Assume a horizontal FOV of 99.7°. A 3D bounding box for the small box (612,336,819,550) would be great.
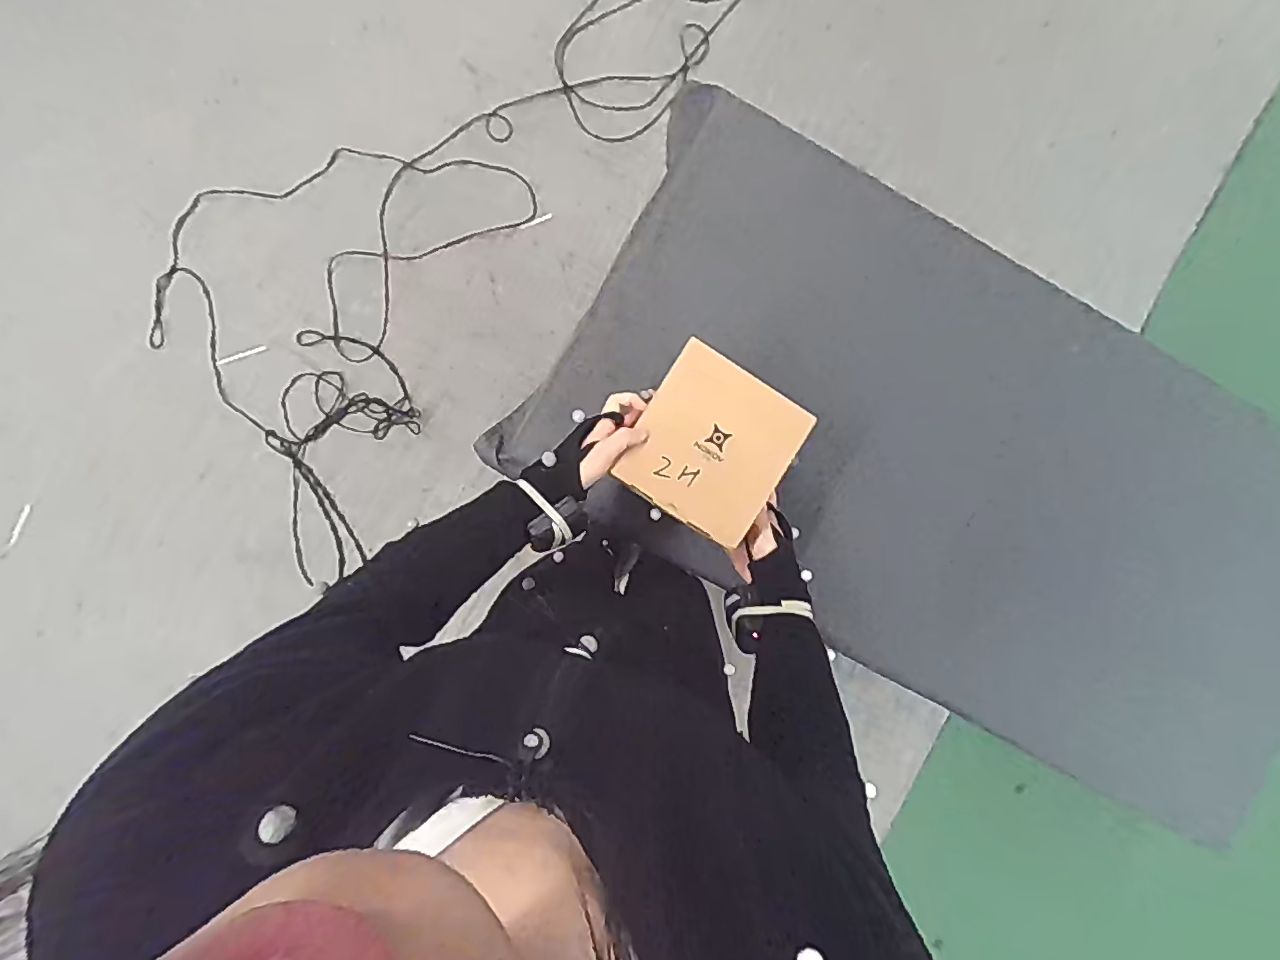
[{"bbox_3d":[0.075,-0.038,0.656,0.168,0.176,0.179,33,86,-3],"label":"small box"}]
